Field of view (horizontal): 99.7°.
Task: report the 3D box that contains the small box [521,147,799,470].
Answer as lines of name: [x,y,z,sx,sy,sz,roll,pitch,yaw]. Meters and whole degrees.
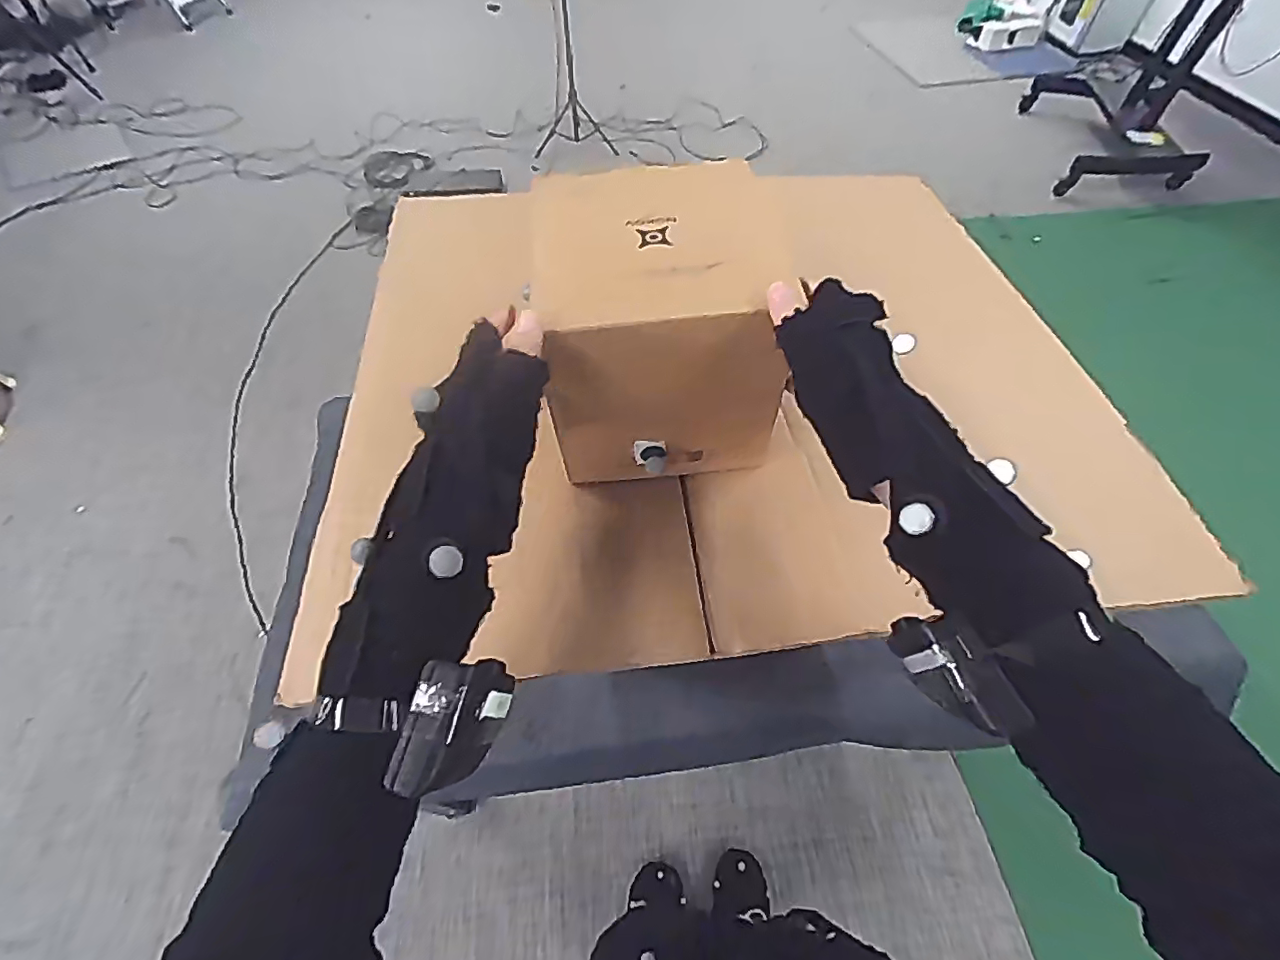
small box: [0.006,-0.130,0.426,0.168,0.176,0.179,-6,56,-2]
